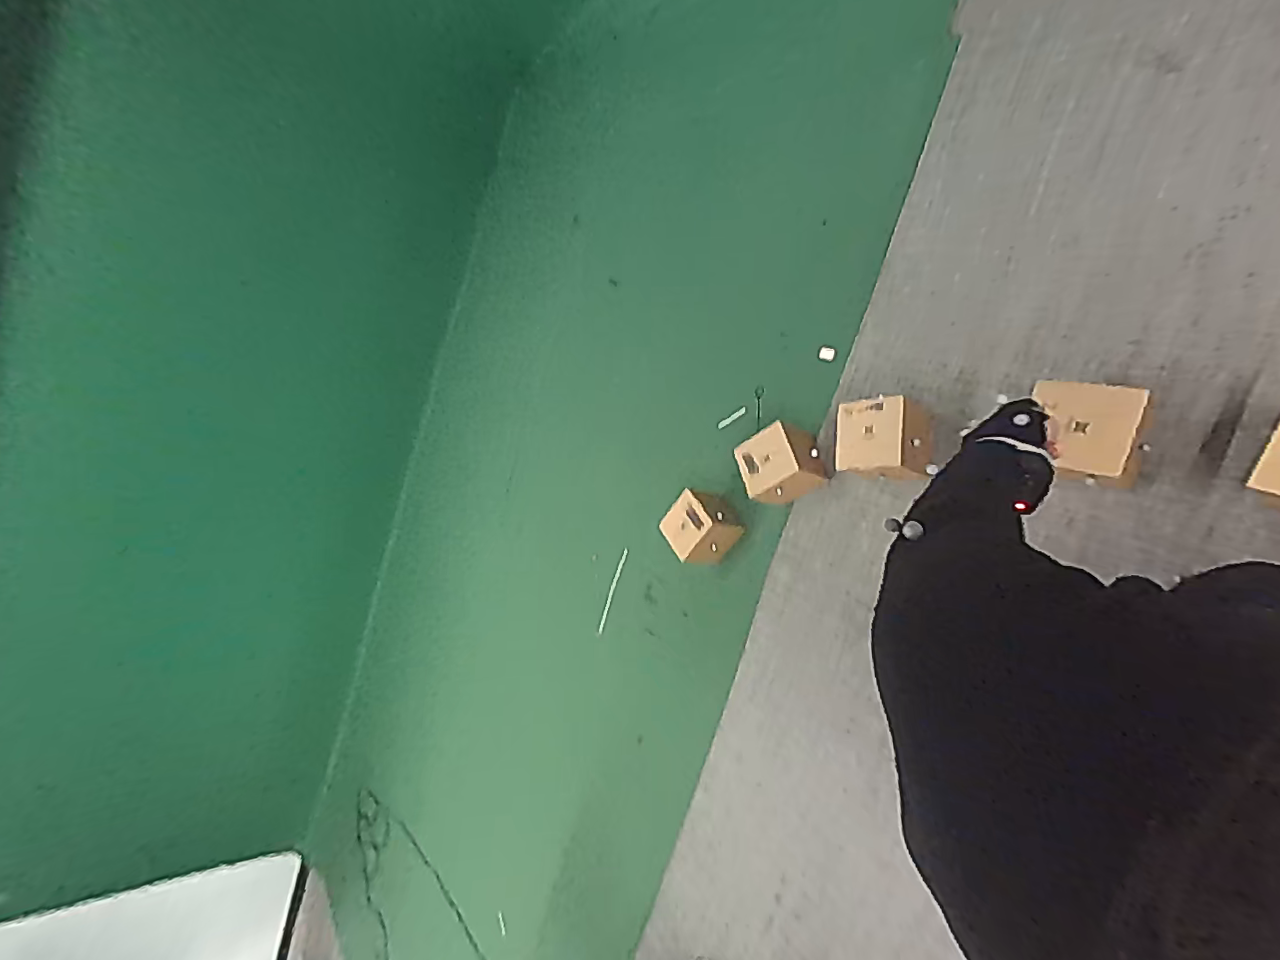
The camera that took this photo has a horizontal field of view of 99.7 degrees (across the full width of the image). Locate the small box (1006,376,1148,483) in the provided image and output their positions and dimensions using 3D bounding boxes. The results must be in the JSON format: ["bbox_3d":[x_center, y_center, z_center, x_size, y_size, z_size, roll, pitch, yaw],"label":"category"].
[{"bbox_3d":[0.882,-0.098,1.088,0.179,0.176,0.168,22,97,47],"label":"small box"}]

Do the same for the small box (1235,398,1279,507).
[{"bbox_3d":[1.093,-0.031,0.847,0.179,0.176,0.168,30,104,46],"label":"small box"}]

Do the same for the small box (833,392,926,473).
[{"bbox_3d":[0.615,-0.112,1.383,0.168,0.176,0.179,-2,80,47],"label":"small box"}]

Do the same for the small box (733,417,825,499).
[{"bbox_3d":[0.410,-0.057,1.594,0.179,0.176,0.168,-35,57,36],"label":"small box"}]
